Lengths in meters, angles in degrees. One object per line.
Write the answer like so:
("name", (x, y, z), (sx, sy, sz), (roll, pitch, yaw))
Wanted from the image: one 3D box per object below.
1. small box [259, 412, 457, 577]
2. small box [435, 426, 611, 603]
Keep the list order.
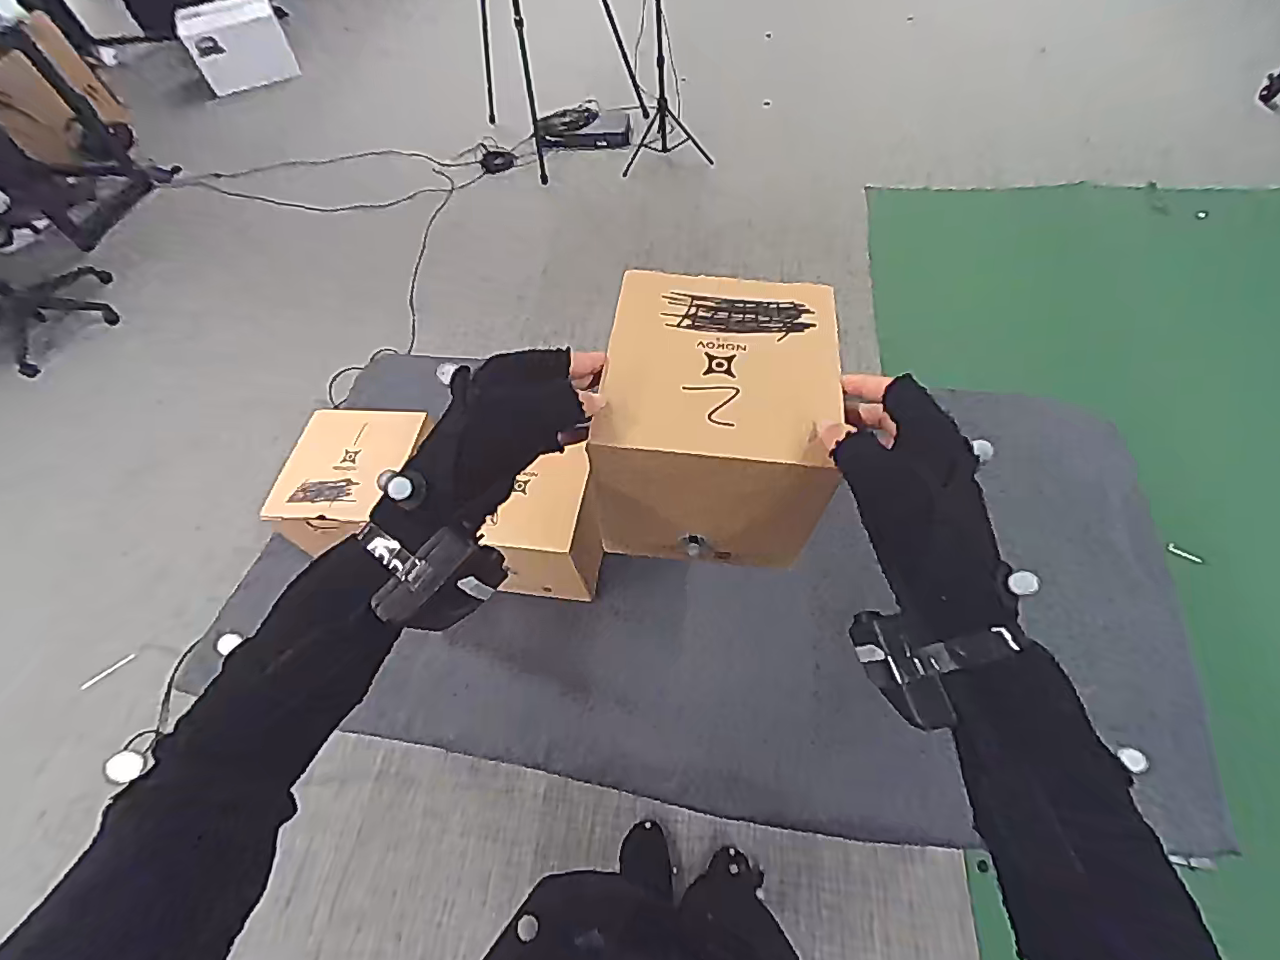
("small box", (-0.372, 0.025, 0.763), (0.168, 0.176, 0.179), (2, 56, 7))
("small box", (-0.140, 0.051, 0.726), (0.168, 0.176, 0.179), (5, 57, 9))
